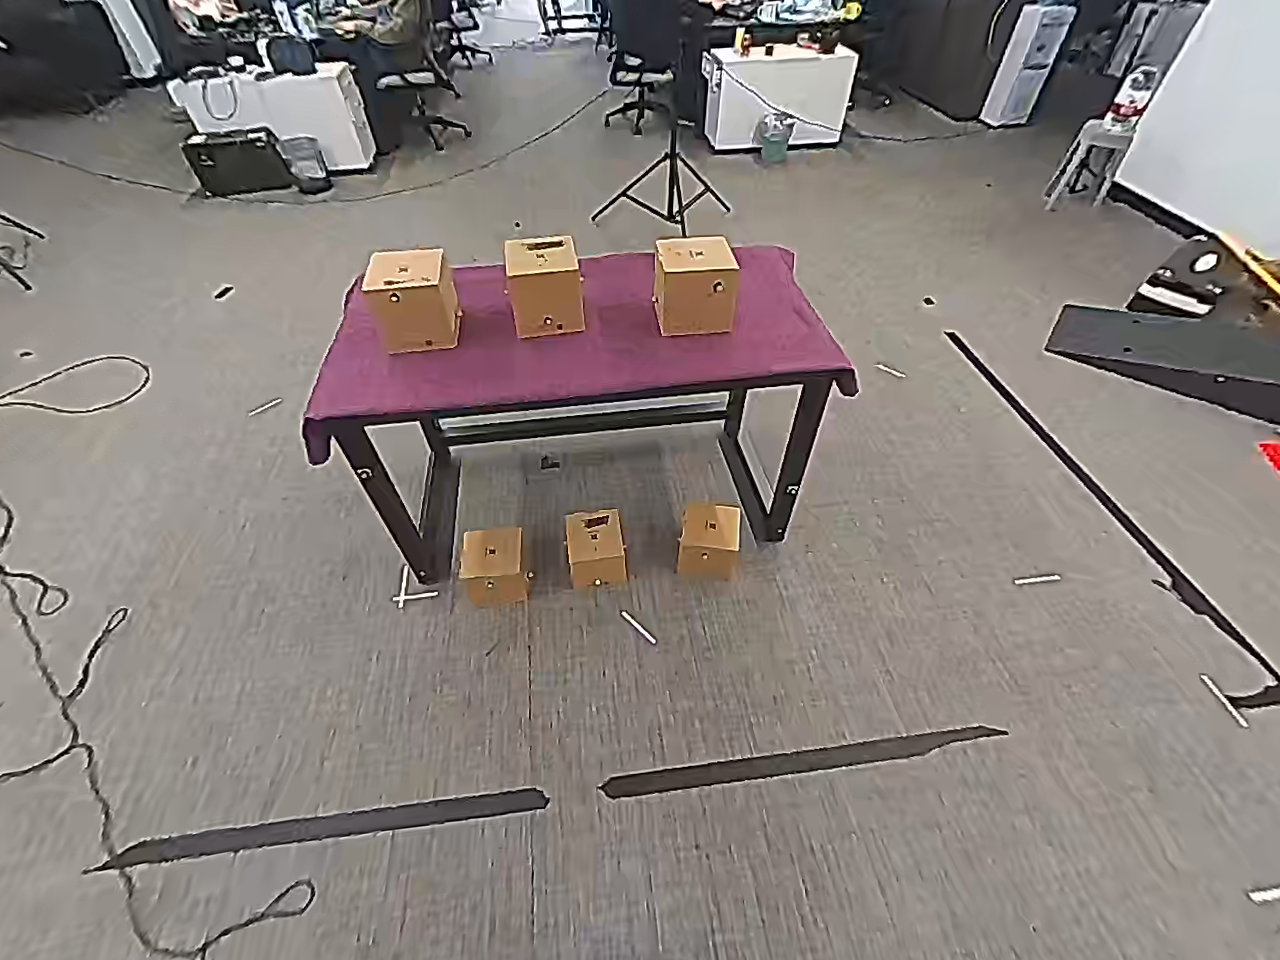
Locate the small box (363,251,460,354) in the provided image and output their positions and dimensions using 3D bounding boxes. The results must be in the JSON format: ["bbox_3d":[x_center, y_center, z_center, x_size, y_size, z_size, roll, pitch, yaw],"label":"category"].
[{"bbox_3d":[-0.534,-0.422,1.290,0.168,0.176,0.179,-8,48,-7],"label":"small box"}]

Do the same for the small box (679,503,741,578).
[{"bbox_3d":[0.220,0.195,1.710,0.179,0.176,0.168,5,49,7],"label":"small box"}]

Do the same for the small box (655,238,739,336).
[{"bbox_3d":[0.132,-0.472,1.326,0.179,0.176,0.168,-5,47,-3],"label":"small box"}]

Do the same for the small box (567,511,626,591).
[{"bbox_3d":[-0.135,0.222,1.688,0.168,0.176,0.179,-7,49,-5],"label":"small box"}]
